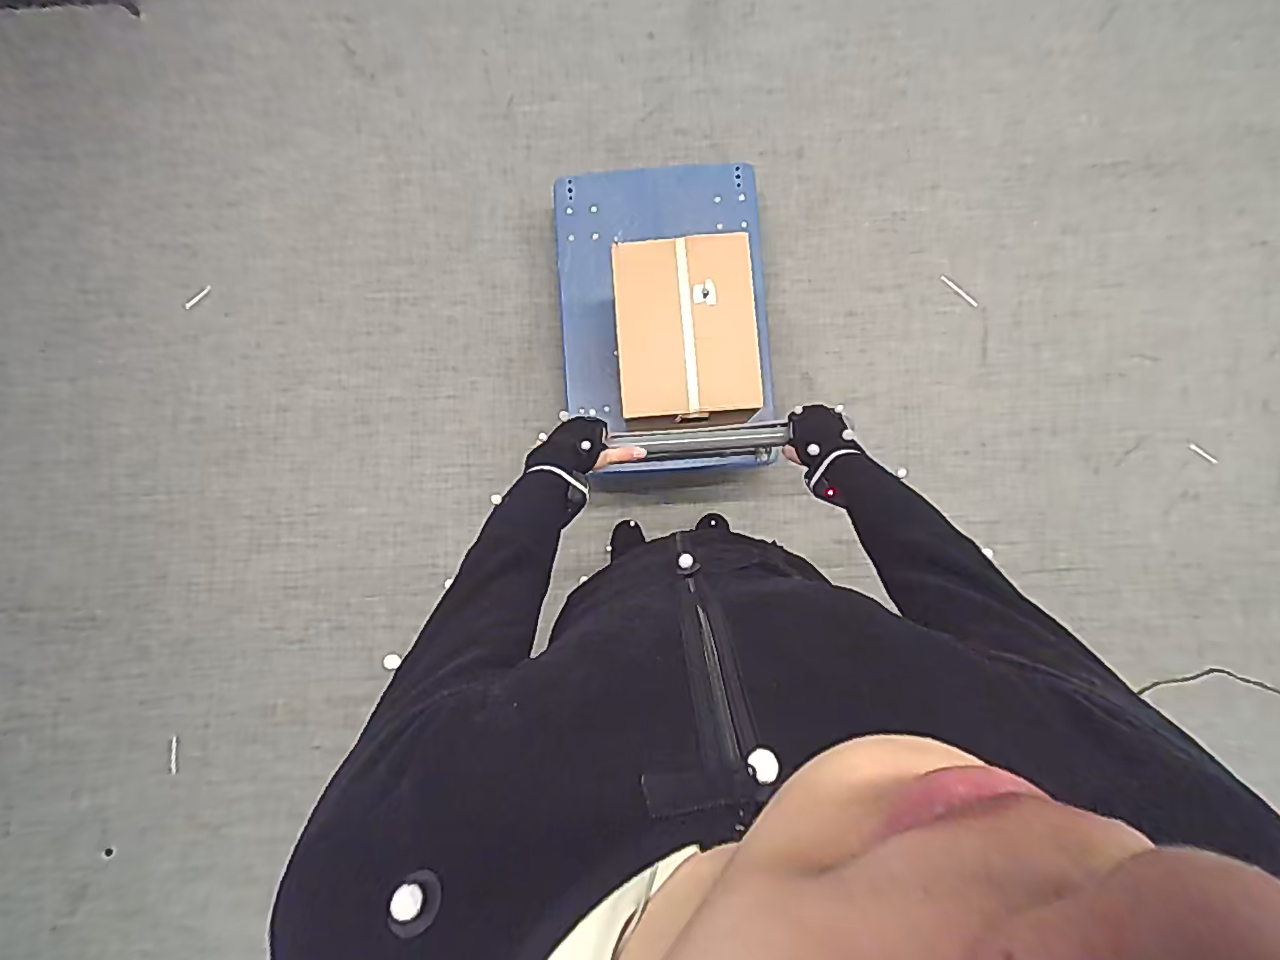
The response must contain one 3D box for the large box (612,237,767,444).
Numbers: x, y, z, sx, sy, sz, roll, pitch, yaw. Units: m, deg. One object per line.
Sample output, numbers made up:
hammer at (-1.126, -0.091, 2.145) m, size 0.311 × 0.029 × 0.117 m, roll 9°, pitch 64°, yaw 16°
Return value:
large box at (0.111, -0.321, 1.341) m, size 0.320 × 0.320 × 0.408 m, roll -4°, pitch 85°, yaw 0°
